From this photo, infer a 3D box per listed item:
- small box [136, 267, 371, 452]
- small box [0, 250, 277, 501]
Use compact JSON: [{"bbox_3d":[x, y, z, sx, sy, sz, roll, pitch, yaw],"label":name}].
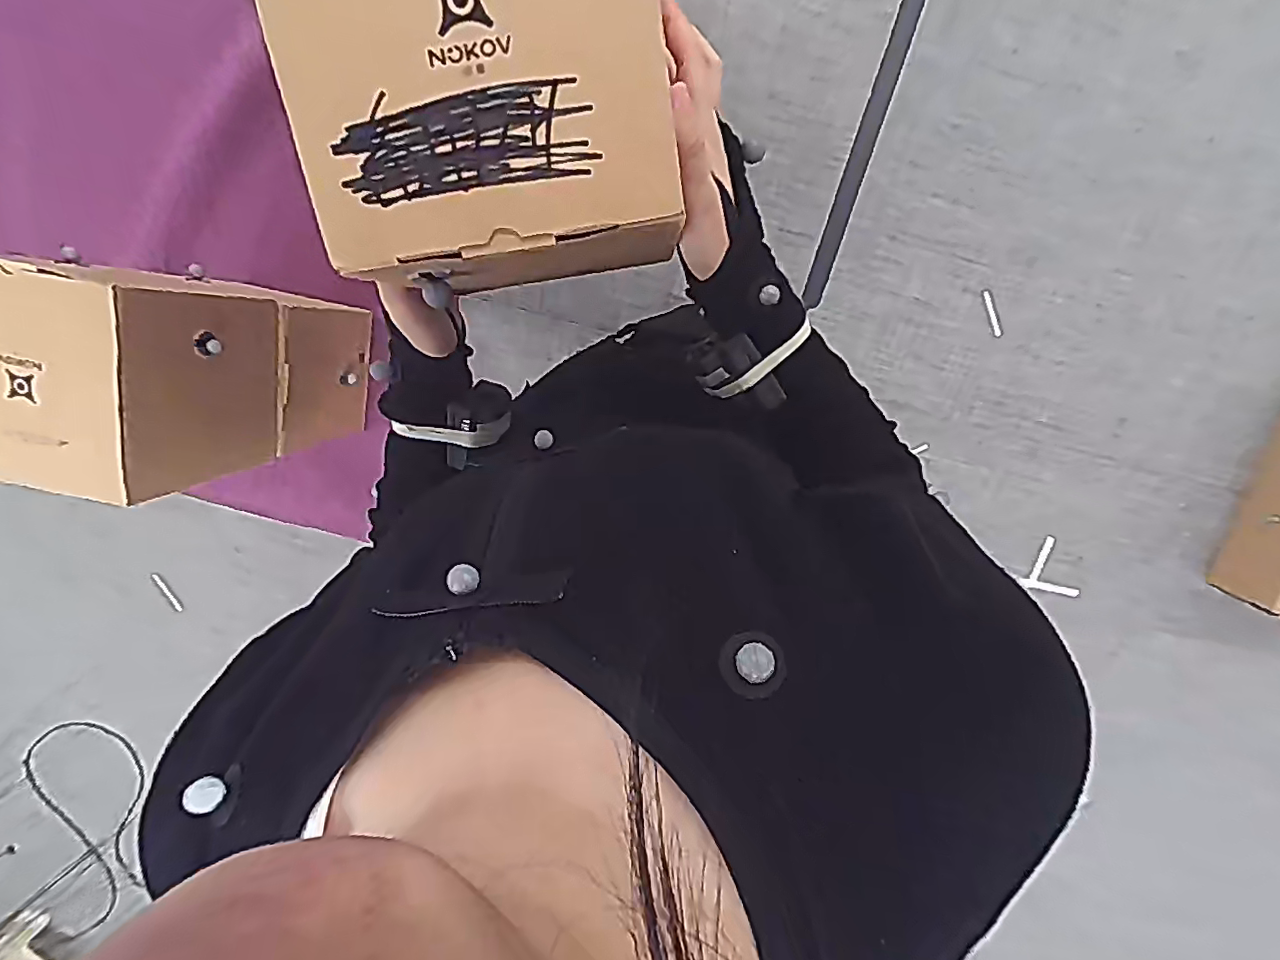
[{"bbox_3d":[-0.458,-0.144,0.651,0.179,0.176,0.168,12,106,-1],"label":"small box"},{"bbox_3d":[-0.467,-0.101,0.495,0.168,0.176,0.179,11,106,1],"label":"small box"}]
